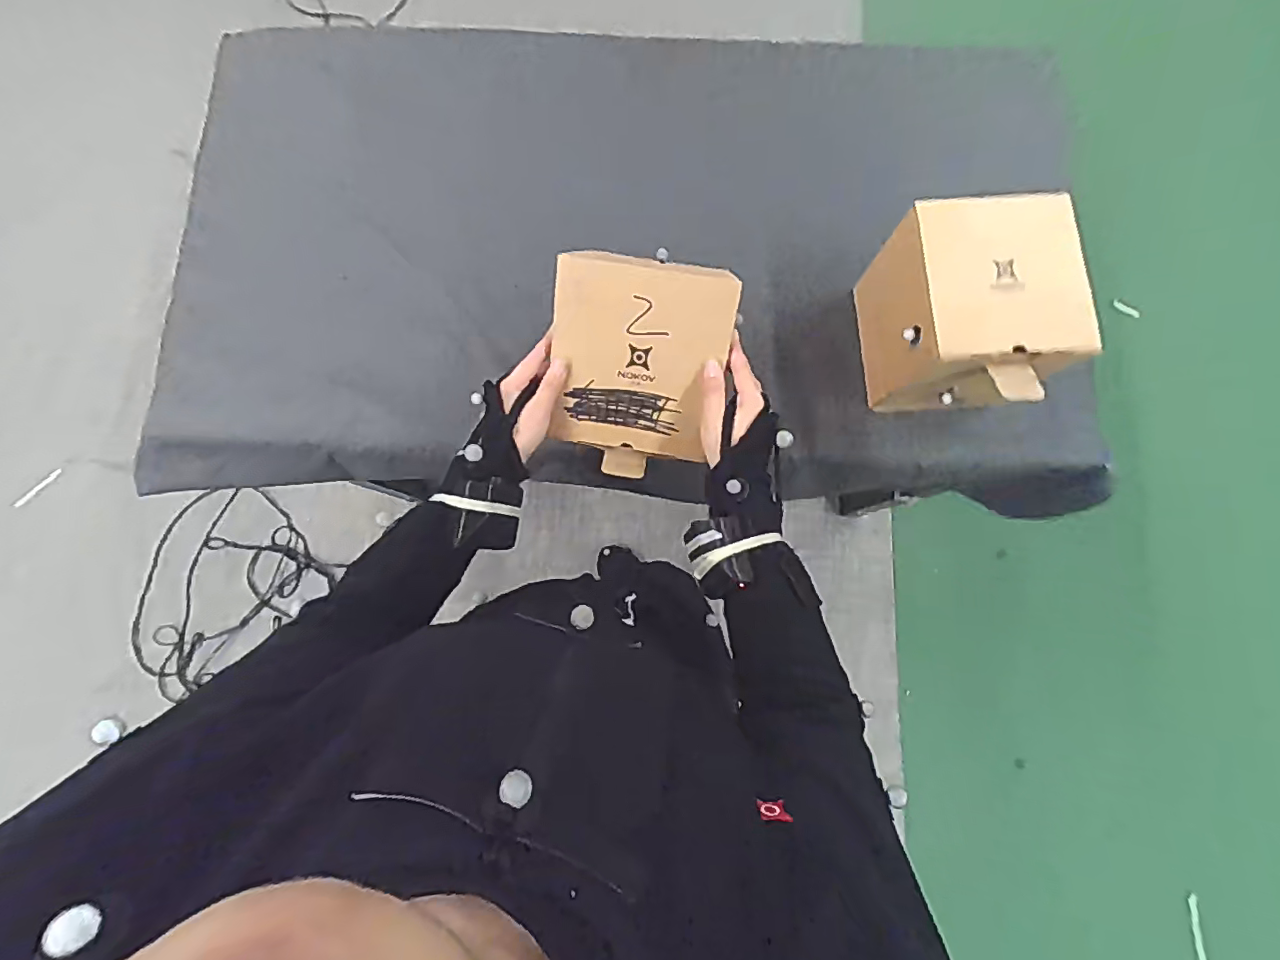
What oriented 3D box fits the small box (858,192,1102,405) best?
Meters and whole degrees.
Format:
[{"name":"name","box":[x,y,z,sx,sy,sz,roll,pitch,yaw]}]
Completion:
[{"name":"small box","box":[0.371,-0.198,0.627,0.168,0.176,0.179,-3,80,-1]}]
